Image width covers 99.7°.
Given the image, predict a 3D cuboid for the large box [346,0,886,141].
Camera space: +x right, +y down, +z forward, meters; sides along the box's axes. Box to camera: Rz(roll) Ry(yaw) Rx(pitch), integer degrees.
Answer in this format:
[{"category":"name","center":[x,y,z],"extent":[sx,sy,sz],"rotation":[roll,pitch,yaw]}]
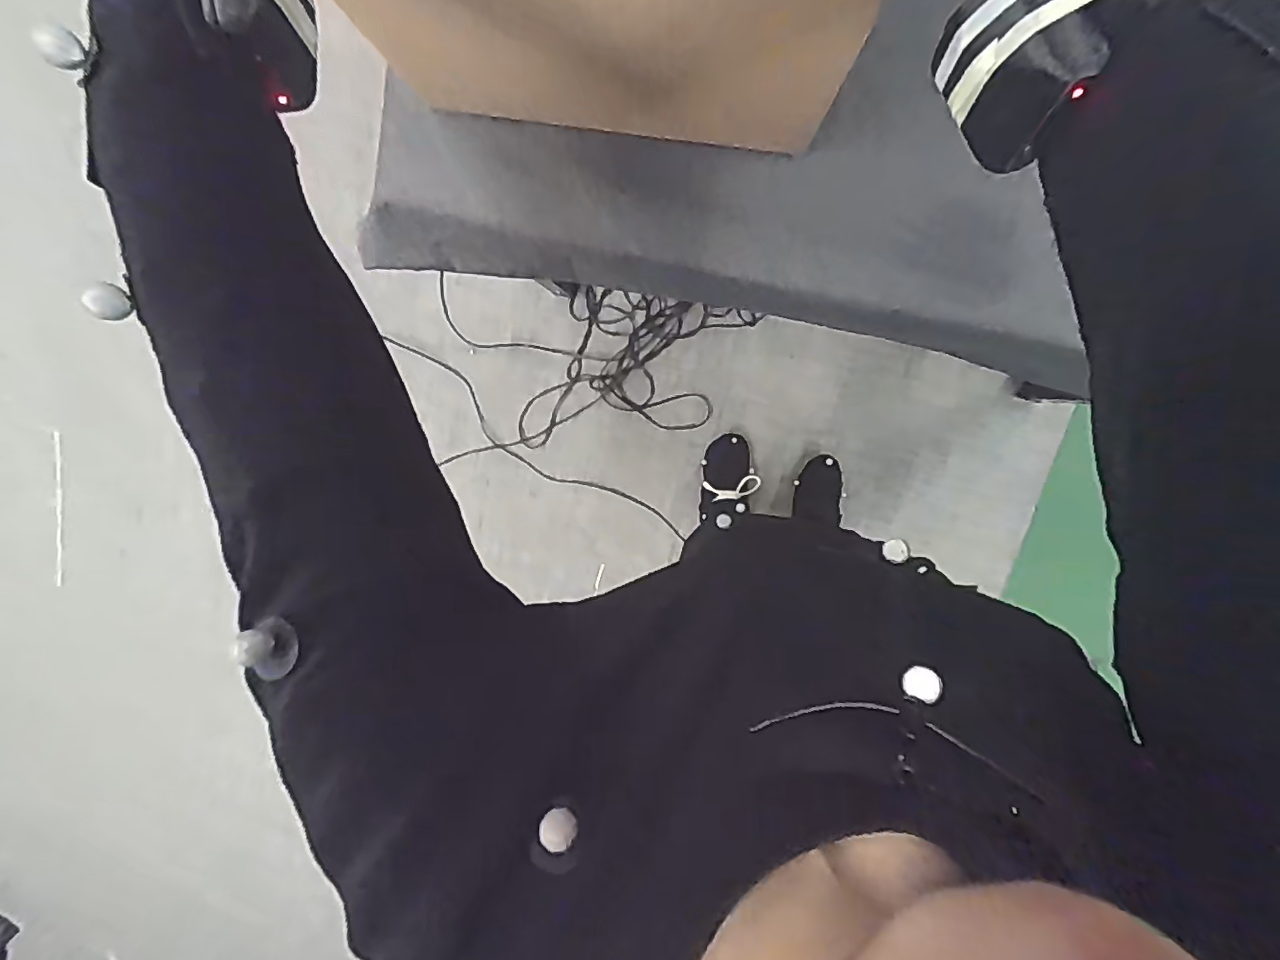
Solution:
[{"category":"large box","center":[-0.015,-0.489,0.385],"extent":[0.408,0.320,0.320],"rotation":[8,101,1]}]
